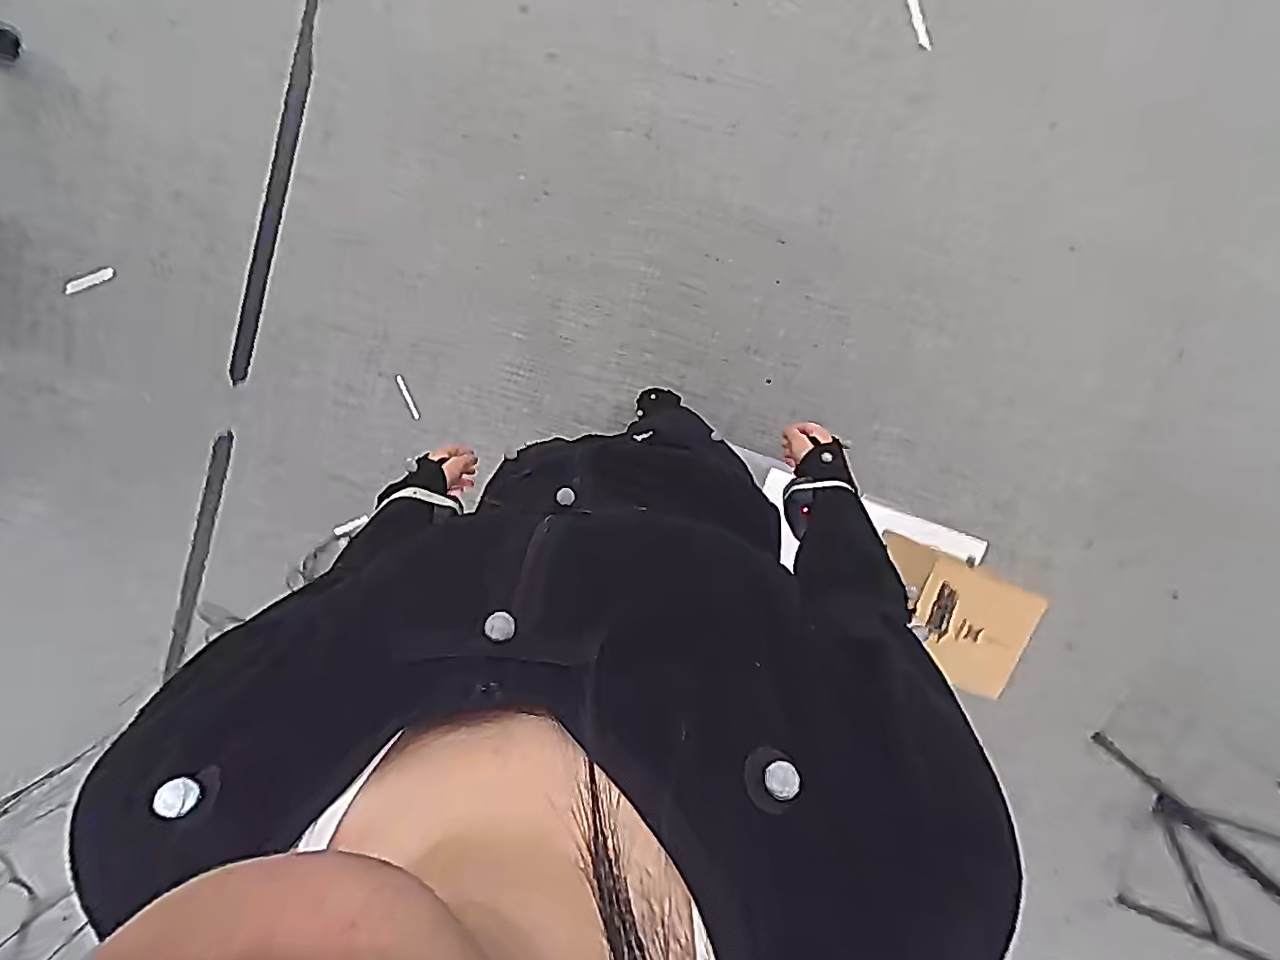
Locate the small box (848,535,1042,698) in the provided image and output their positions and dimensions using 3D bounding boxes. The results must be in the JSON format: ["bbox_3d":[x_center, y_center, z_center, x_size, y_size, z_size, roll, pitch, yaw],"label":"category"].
[{"bbox_3d":[0.457,0.200,0.845,0.179,0.176,0.168,21,99,-4],"label":"small box"}]
